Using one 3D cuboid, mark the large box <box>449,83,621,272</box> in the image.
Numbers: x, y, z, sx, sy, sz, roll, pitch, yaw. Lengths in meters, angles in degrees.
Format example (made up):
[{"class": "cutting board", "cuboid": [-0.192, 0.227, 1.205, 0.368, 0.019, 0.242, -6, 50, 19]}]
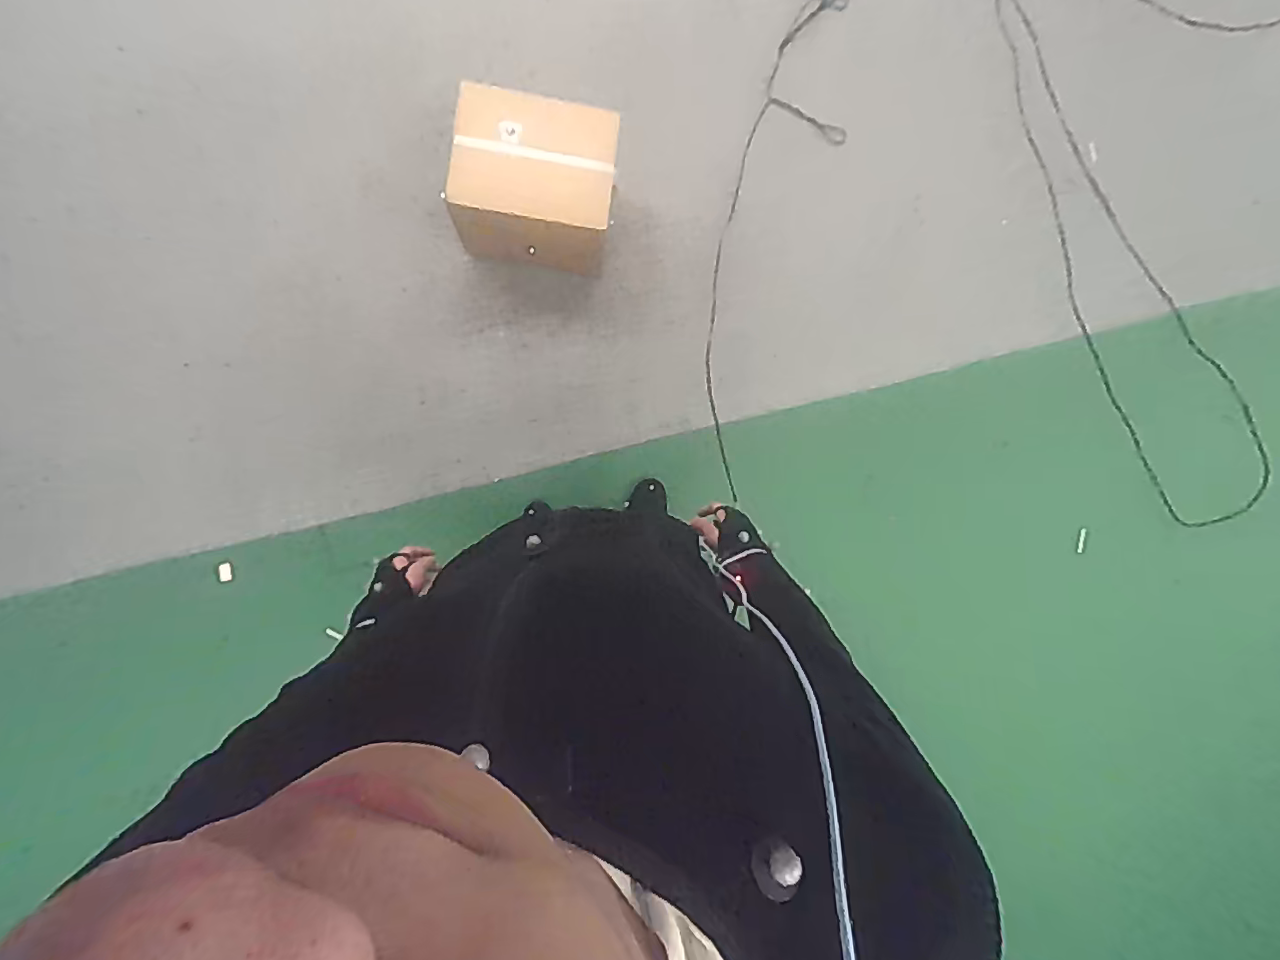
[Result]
[{"class": "large box", "cuboid": [-0.272, -0.809, 1.500, 0.408, 0.320, 0.320, 7, 88, -6]}]
